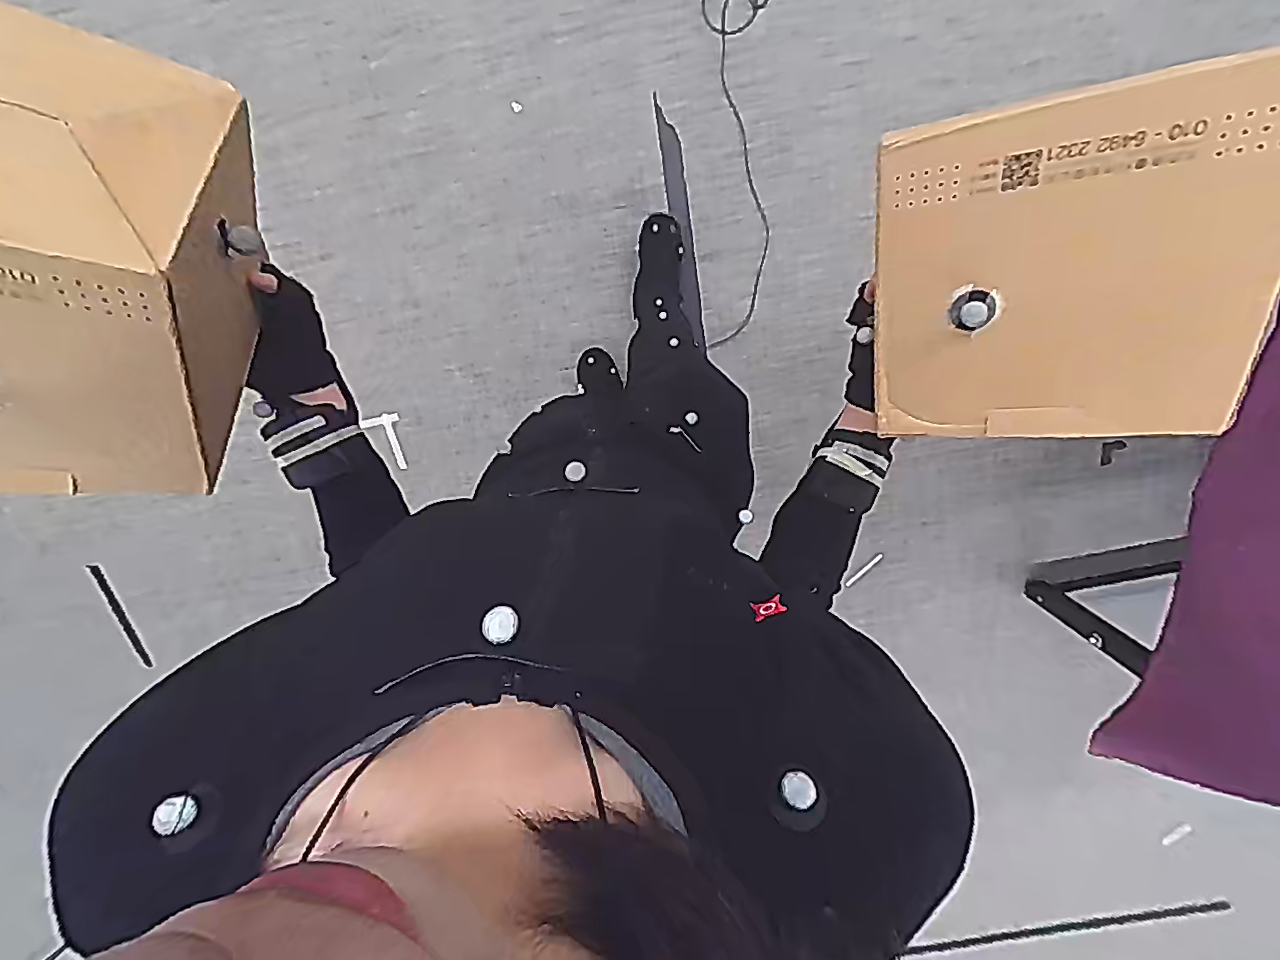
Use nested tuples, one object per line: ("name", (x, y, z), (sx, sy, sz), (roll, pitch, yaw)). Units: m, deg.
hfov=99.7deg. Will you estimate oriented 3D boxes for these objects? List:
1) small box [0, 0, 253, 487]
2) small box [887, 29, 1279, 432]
("small box", (-0.310, -0.119, 0.267), (0.168, 0.179, 0.176), (7, 141, -28))
("small box", (0.239, -0.141, 0.322), (0.168, 0.179, 0.176), (3, 122, 24))
